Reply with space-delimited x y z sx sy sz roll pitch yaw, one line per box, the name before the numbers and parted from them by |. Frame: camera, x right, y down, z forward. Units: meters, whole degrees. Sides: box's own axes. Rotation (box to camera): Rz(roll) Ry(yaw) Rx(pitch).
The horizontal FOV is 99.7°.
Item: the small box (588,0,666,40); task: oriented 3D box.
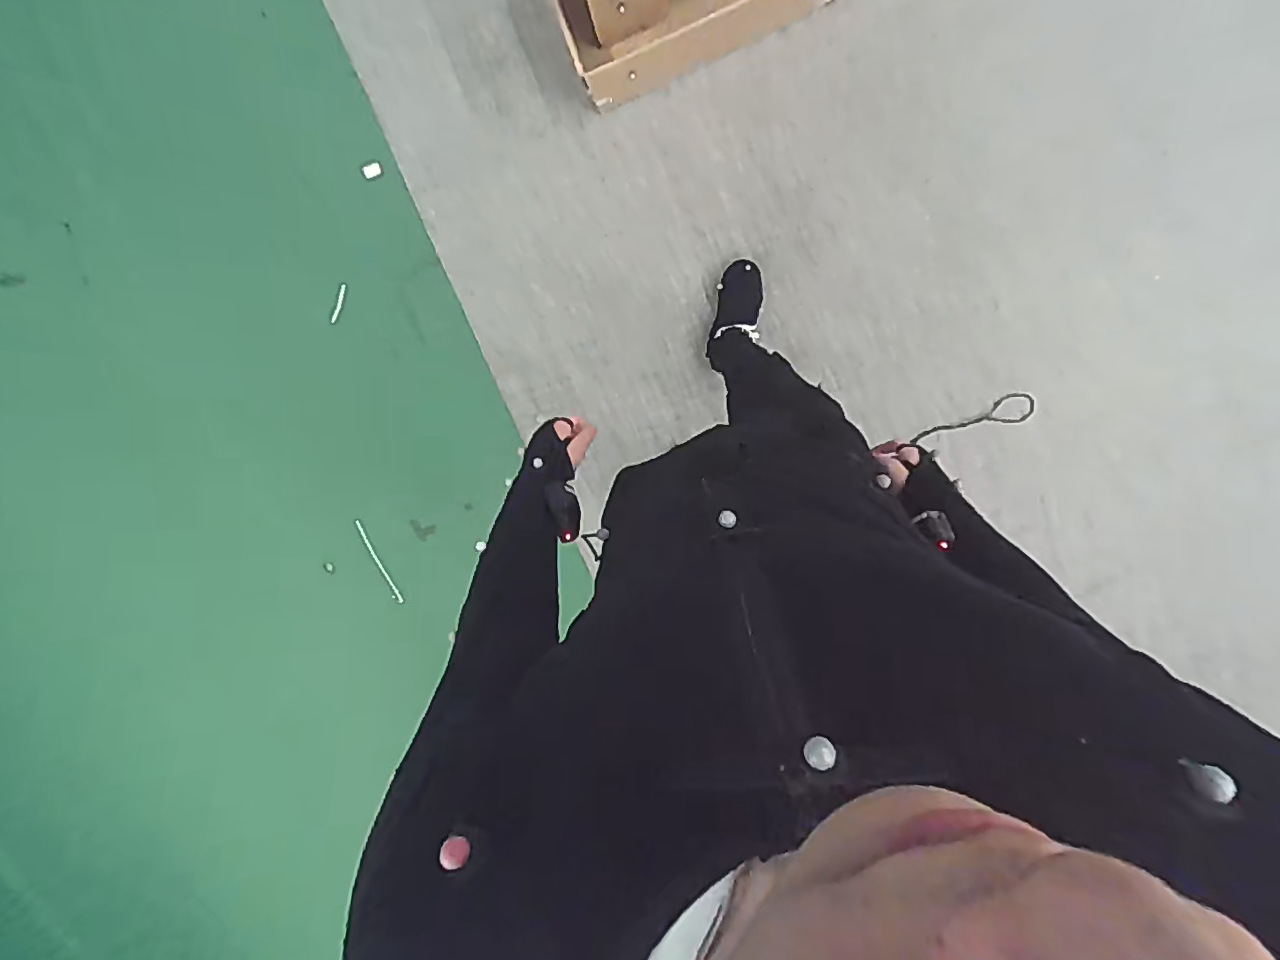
small box | -0.046 -1.105 1.156 0.168 0.176 0.179 -16 104 10
